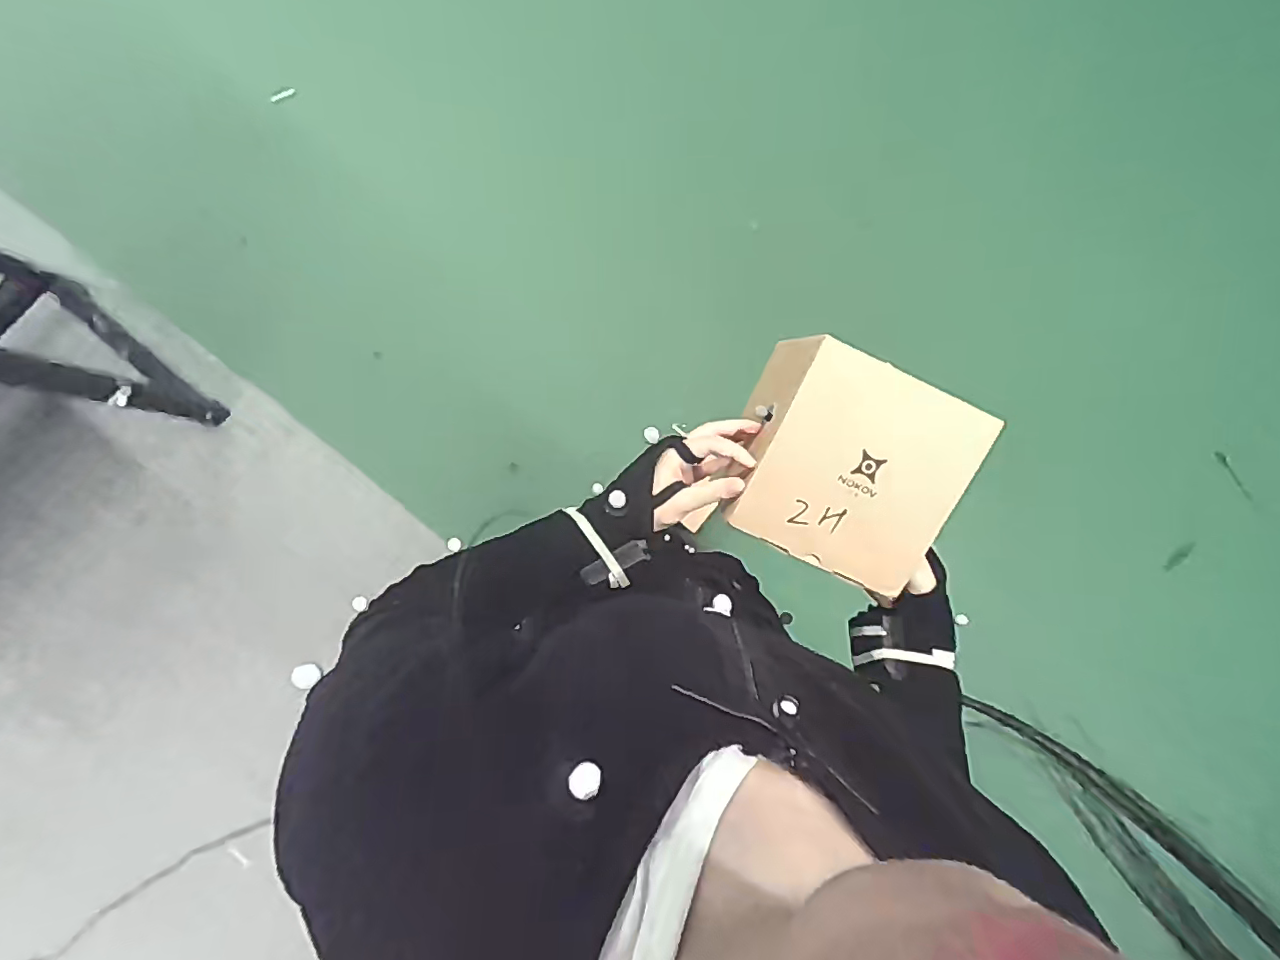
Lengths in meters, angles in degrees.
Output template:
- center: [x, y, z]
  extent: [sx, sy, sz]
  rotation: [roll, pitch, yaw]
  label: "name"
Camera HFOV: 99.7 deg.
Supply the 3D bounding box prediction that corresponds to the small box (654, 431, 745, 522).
- center: [0.152, -0.006, 1.446]
  extent: [0.168, 0.176, 0.179]
  rotation: [40, 87, 1]
  label: "small box"
